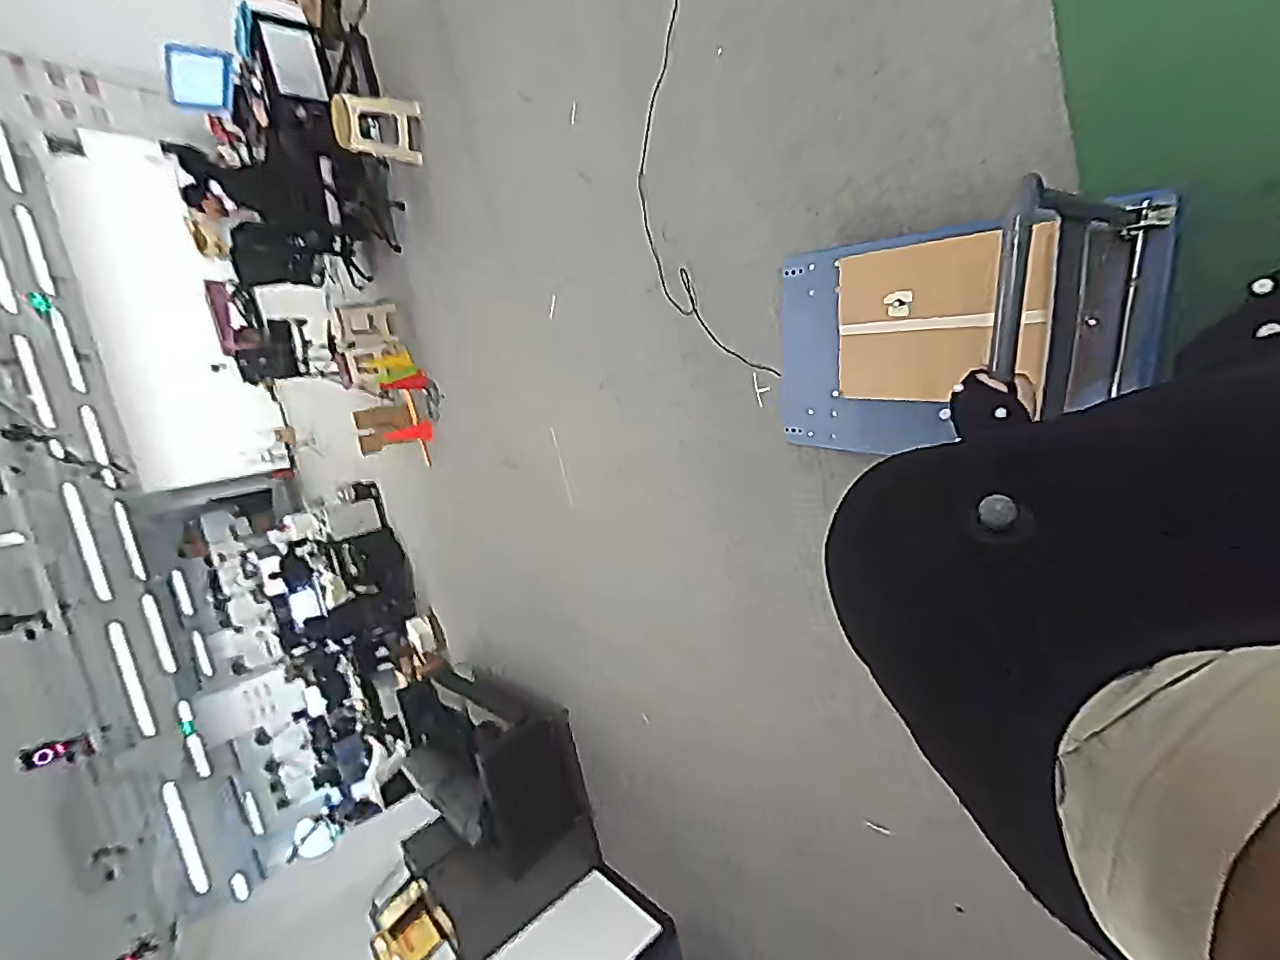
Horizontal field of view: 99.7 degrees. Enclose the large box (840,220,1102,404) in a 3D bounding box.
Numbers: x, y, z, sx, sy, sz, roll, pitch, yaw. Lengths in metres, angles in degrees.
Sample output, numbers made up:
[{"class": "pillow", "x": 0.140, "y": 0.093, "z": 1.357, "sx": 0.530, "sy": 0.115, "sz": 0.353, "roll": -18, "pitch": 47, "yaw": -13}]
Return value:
[{"class": "large box", "x": 0.698, "y": -0.344, "z": 1.166, "sx": 0.408, "sy": 0.320, "sz": 0.320, "roll": 12, "pitch": 112, "yaw": 48}]
